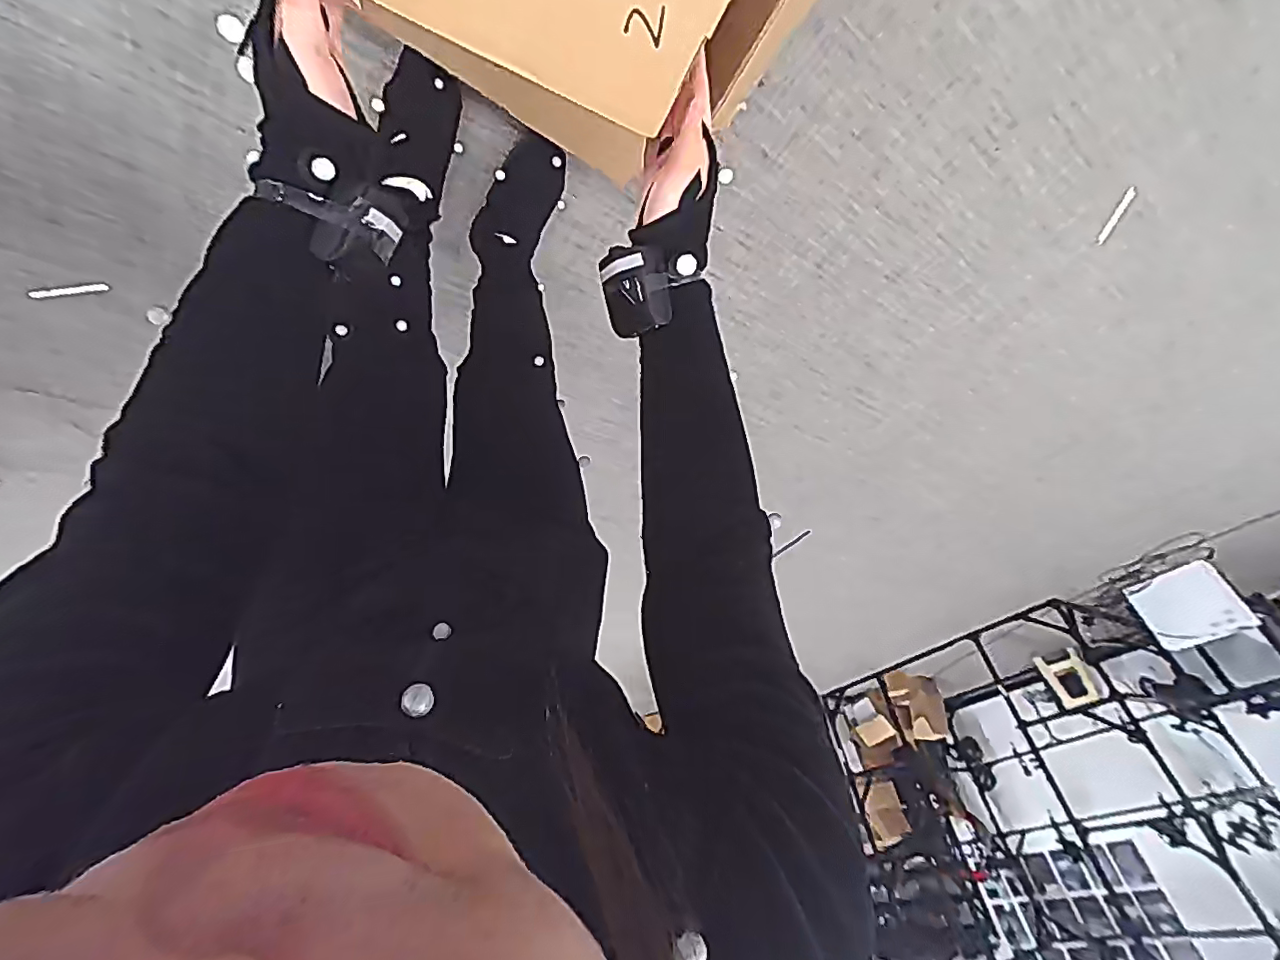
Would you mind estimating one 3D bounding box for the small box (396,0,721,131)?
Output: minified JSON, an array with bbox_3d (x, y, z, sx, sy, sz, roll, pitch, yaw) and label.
[{"bbox_3d":[-0.041,-0.342,0.289,0.179,0.176,0.168,8,144,-30],"label":"small box"}]
